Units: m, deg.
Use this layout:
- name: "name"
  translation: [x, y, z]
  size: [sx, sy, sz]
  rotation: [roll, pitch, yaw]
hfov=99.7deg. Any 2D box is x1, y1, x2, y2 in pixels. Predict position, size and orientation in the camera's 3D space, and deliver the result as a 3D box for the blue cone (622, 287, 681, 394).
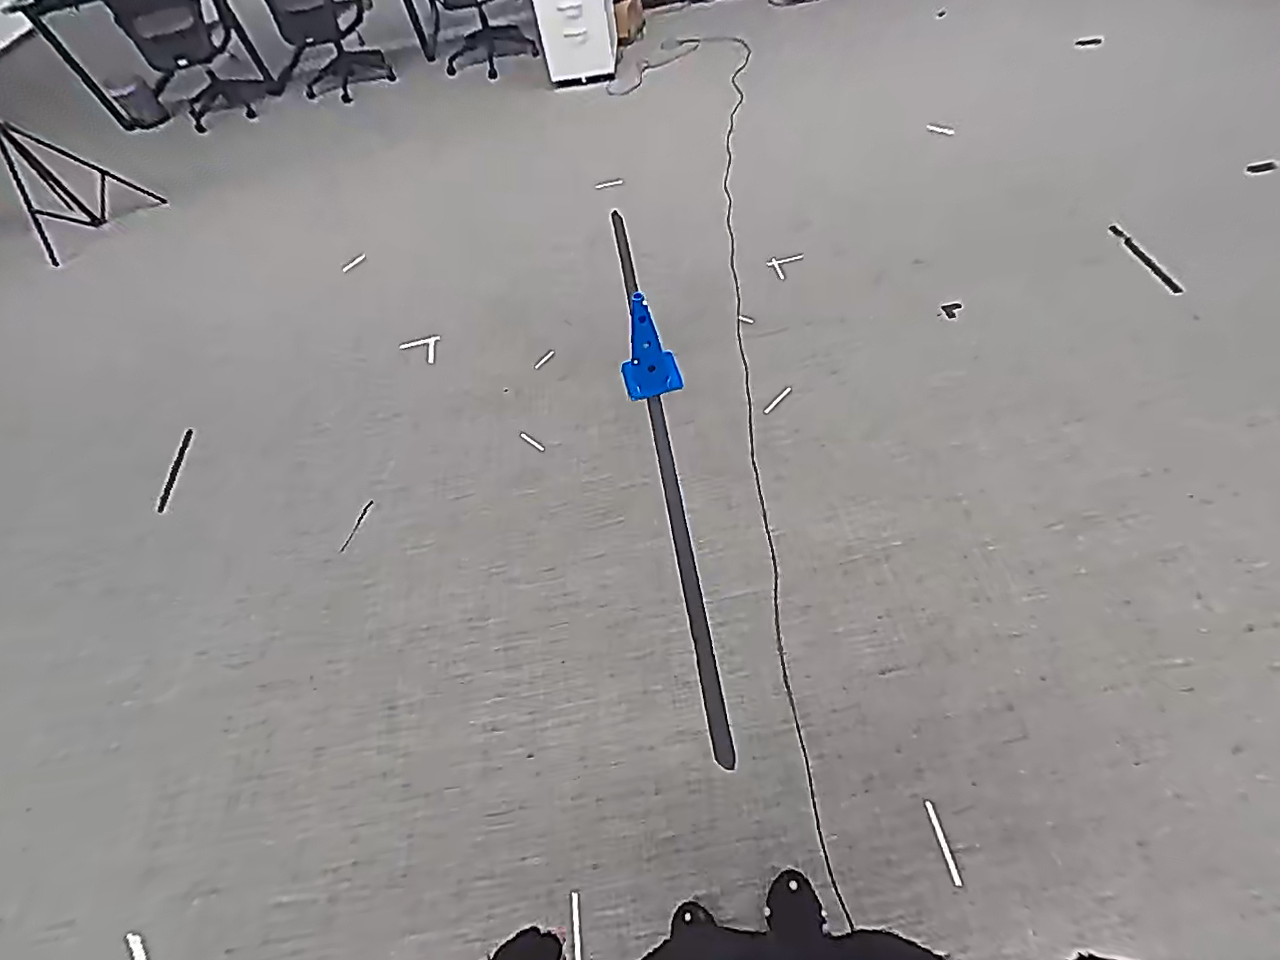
- name: "blue cone"
  translation: [0.011, -0.485, 1.829]
  size: [0.192, 0.380, 0.193]
  rotation: [-16, 55, -1]
